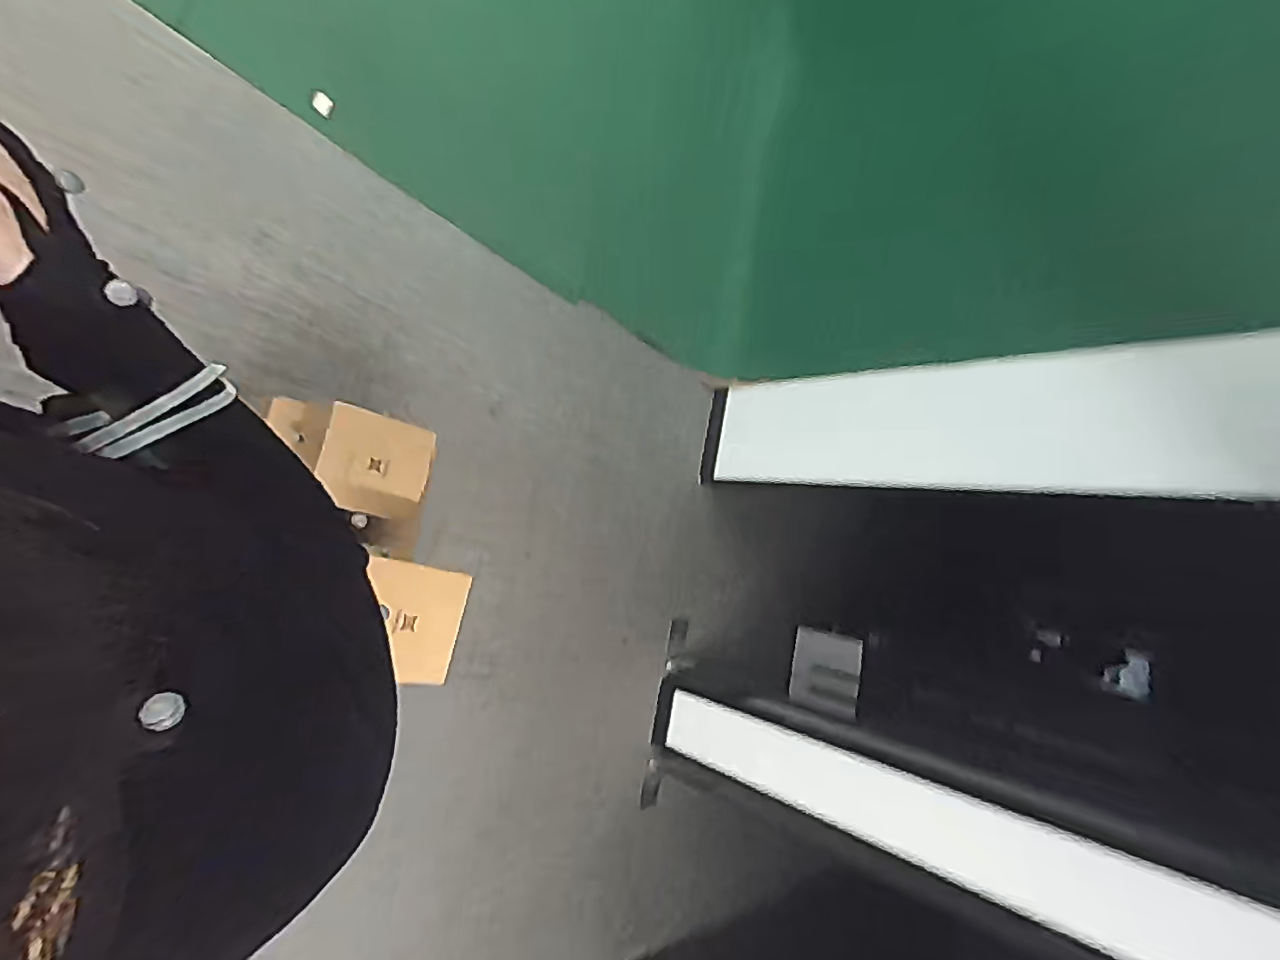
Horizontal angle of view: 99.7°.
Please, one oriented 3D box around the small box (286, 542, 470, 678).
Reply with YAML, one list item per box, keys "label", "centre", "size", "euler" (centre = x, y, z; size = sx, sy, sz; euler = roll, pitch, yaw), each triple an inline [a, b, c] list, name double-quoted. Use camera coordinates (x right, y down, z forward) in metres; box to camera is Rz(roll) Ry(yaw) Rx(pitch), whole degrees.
- label: "small box"
  centre: [-0.398, 0.196, 0.828]
  size: [0.179, 0.176, 0.168]
  euler: [26, 71, -46]
